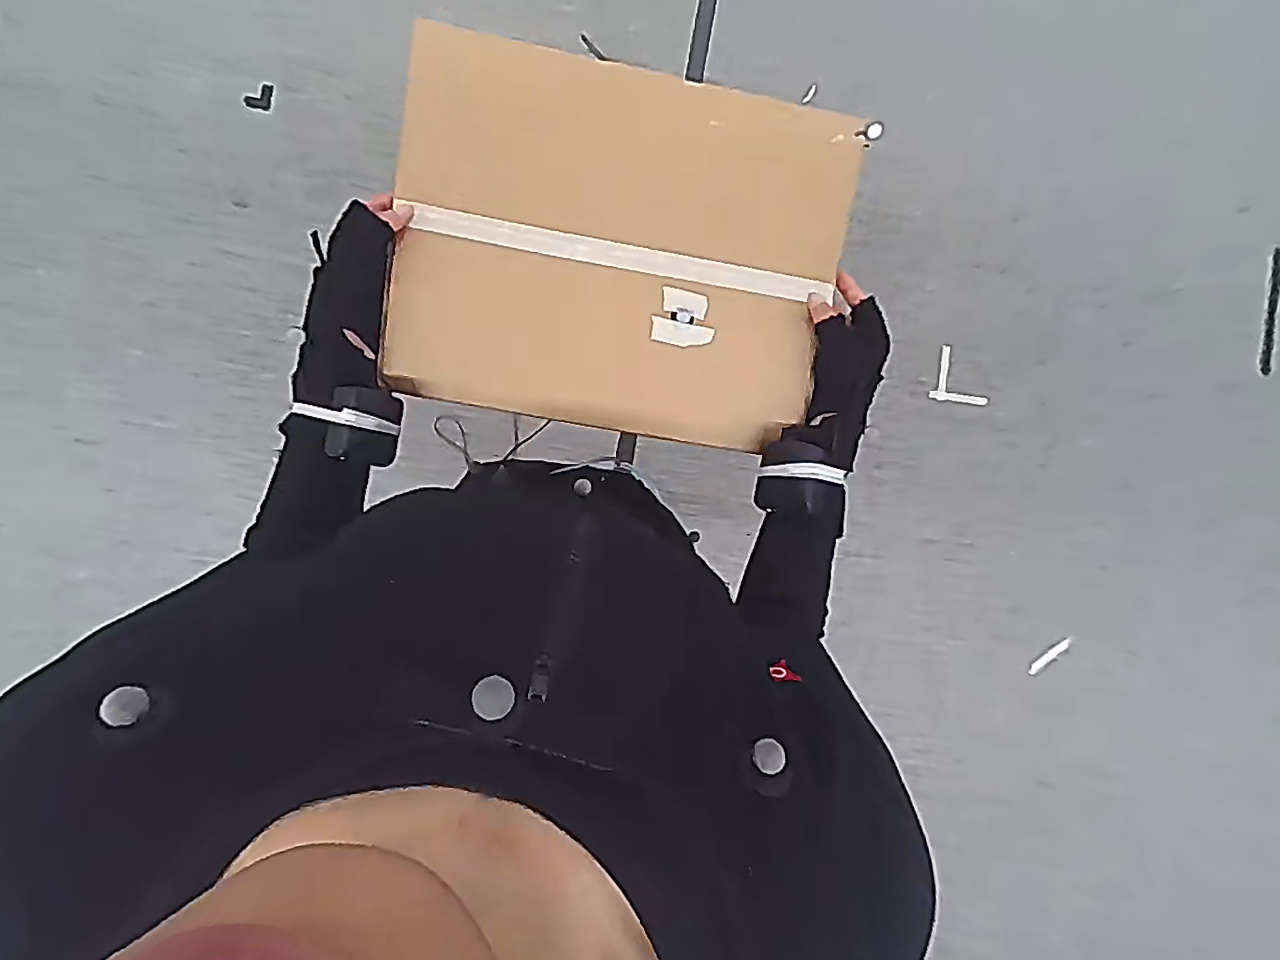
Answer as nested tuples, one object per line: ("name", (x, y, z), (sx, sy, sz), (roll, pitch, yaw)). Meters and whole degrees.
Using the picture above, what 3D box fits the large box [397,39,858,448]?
("large box", (-0.025, -0.229, 0.653), (0.408, 0.320, 0.320), (9, 98, -6))
